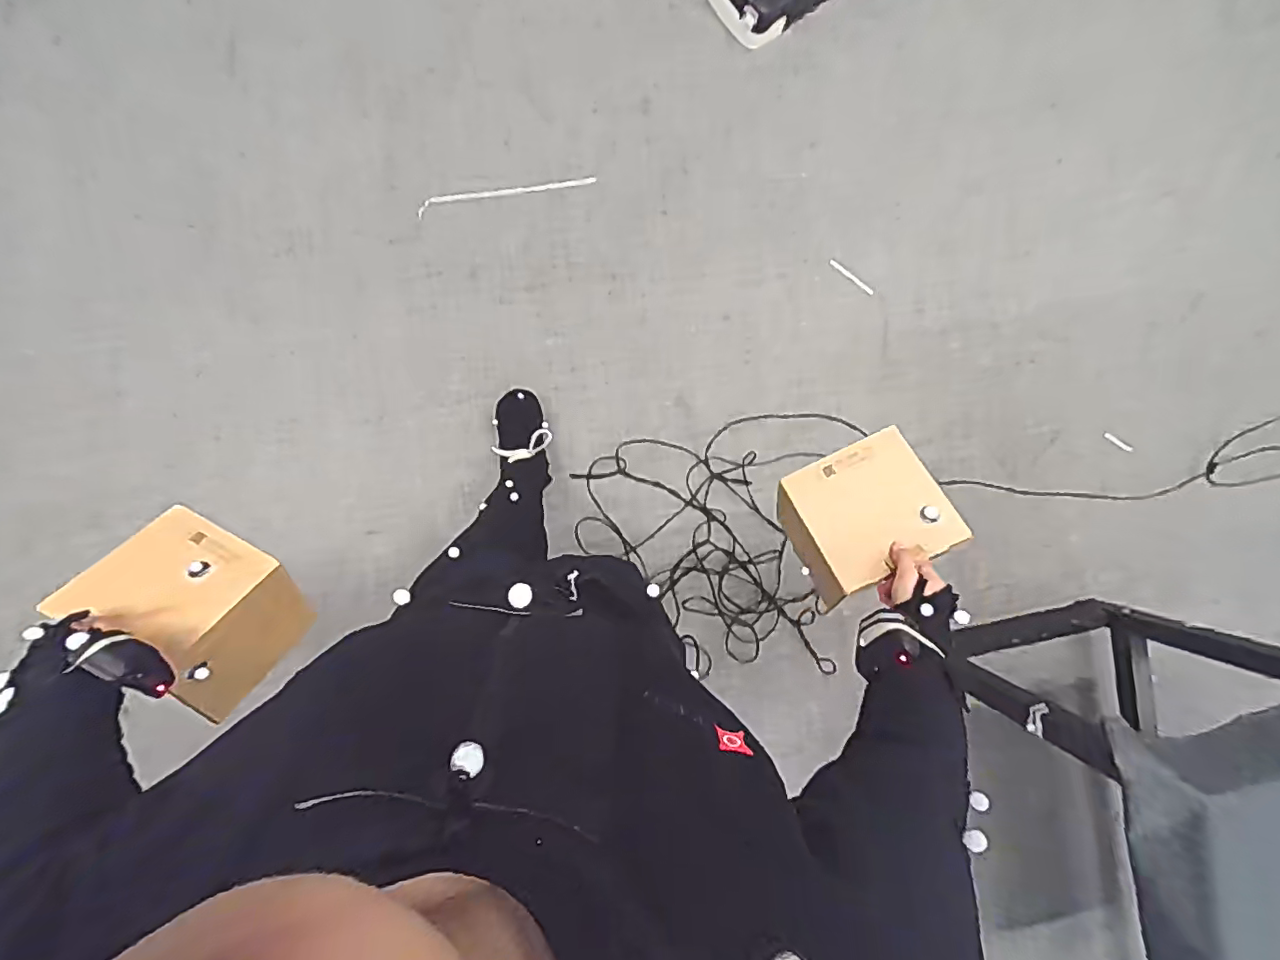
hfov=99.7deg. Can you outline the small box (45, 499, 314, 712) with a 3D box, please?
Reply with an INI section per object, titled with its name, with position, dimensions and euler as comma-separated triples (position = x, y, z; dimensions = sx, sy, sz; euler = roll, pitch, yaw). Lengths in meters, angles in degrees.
[small box]
position = -0.559, 0.159, 0.693
dimensions = 0.168, 0.179, 0.176
euler = 26, 50, 7
